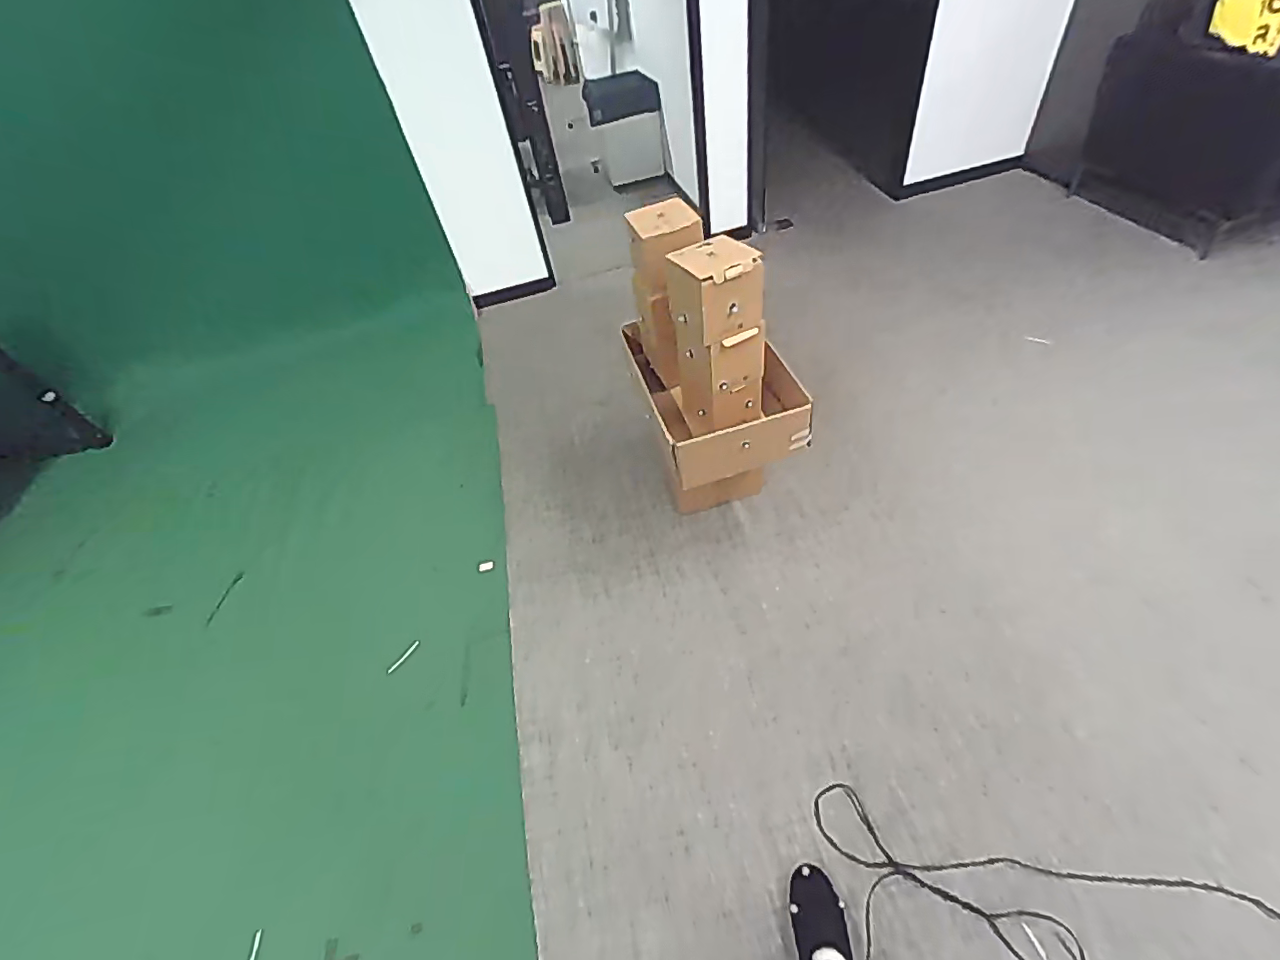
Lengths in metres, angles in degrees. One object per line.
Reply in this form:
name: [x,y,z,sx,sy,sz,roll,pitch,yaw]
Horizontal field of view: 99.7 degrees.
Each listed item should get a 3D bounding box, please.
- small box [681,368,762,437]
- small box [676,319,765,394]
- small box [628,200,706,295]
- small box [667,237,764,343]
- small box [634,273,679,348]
small box: [0.236,-0.245,1.560,0.168,0.176,0.179,-26,49,-13]
small box: [0.216,-0.351,1.437,0.168,0.176,0.179,-26,48,-13]
small box: [0.077,-0.640,1.495,0.168,0.176,0.179,-19,49,-4]
small box: [0.183,-0.455,1.313,0.168,0.176,0.179,-24,49,-12]
small box: [0.098,-0.524,1.611,0.179,0.176,0.168,-21,49,-6]
